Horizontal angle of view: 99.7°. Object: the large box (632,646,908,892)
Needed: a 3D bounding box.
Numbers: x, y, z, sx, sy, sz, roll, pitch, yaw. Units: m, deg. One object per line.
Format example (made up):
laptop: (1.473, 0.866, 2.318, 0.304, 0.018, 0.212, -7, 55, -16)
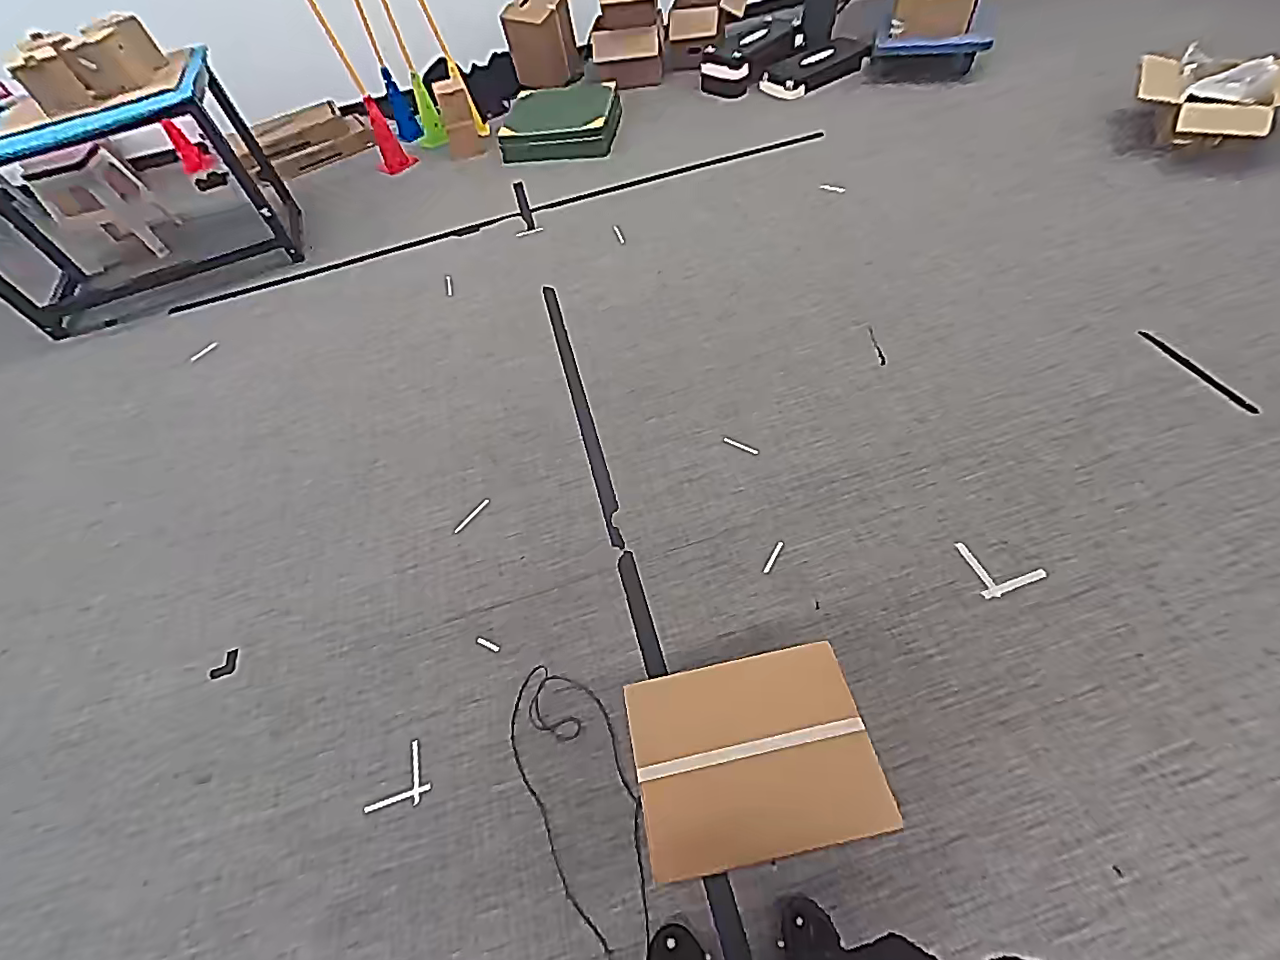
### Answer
large box: (0.220, 0.567, 1.053, 0.408, 0.320, 0.320, -12, 54, -1)
